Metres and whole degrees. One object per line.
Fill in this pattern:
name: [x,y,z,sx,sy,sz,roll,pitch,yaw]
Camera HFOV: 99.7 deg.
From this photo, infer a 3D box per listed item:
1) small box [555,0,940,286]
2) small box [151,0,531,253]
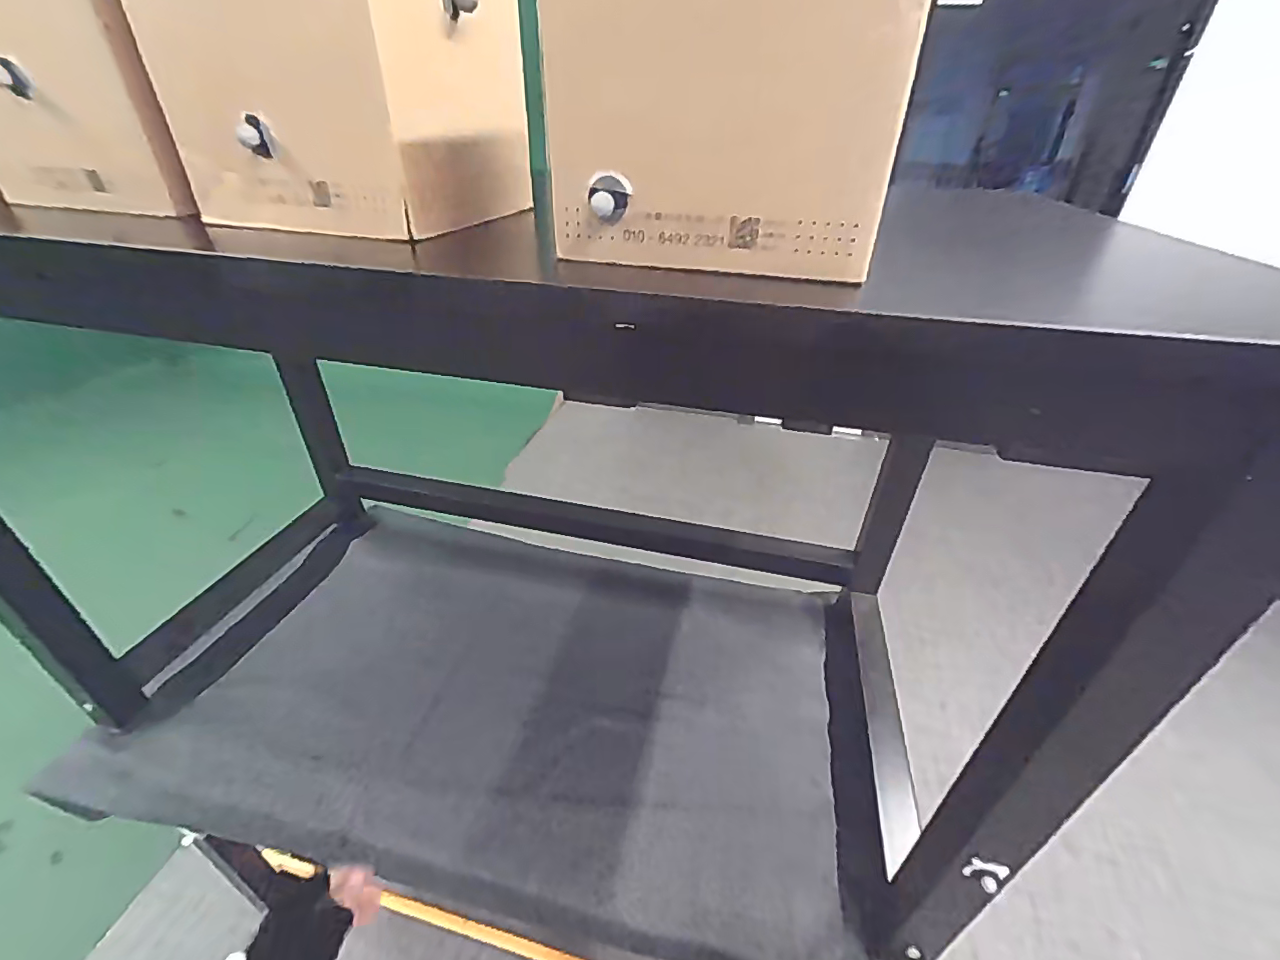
small box: [0.062,-0.216,0.305,0.168,0.176,0.179,10,34,13]
small box: [-0.185,-0.267,0.372,0.168,0.176,0.179,10,35,12]
